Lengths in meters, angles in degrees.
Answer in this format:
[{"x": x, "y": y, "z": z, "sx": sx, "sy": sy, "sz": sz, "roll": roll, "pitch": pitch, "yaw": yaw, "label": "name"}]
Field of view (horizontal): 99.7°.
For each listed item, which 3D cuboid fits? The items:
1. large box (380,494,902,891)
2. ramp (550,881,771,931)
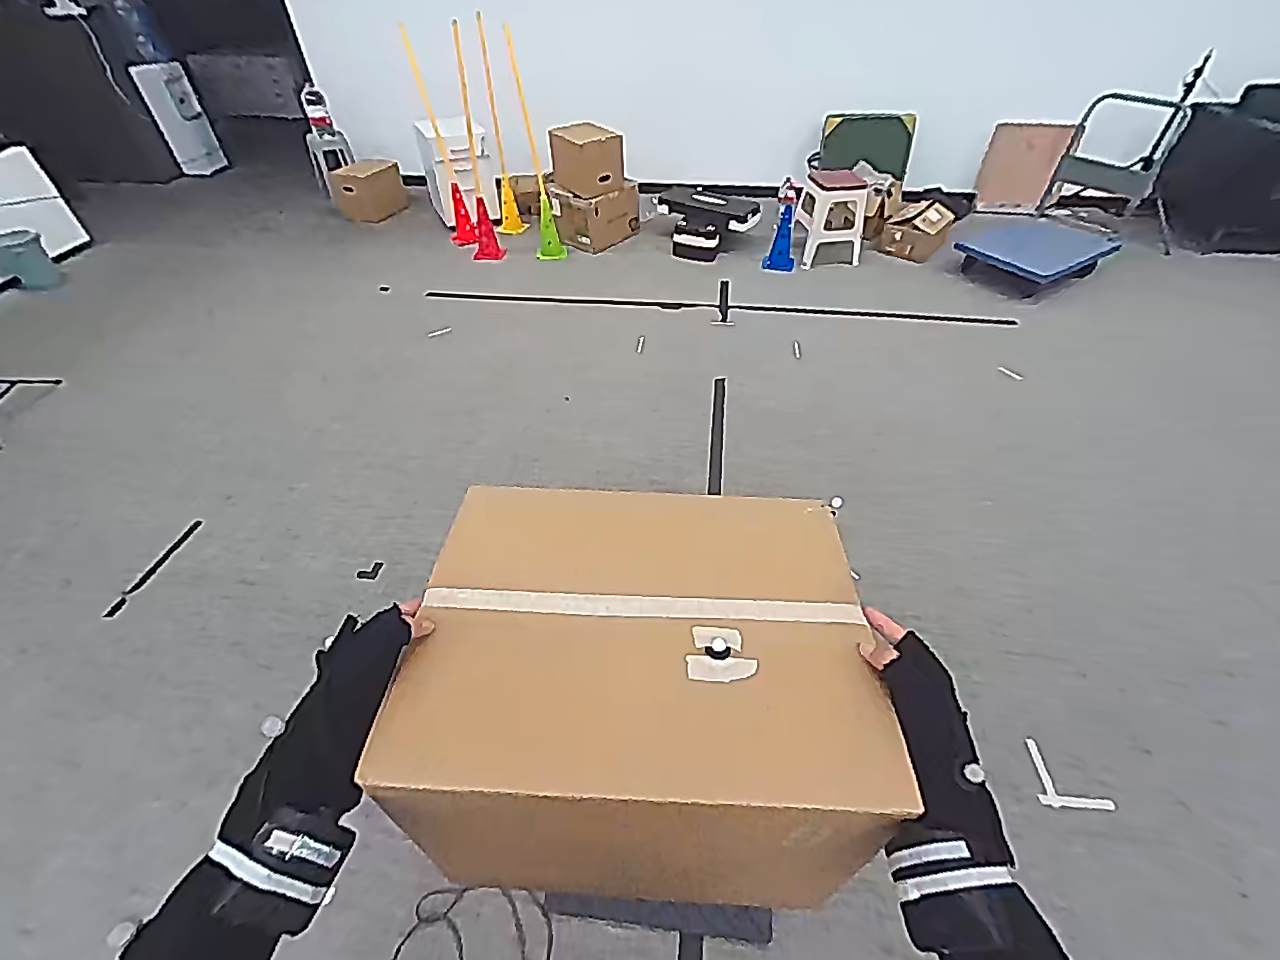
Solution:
[{"x": 0.001, "y": 0.236, "z": 0.612, "sx": 0.408, "sy": 0.320, "sz": 0.320, "roll": 3, "pitch": 42, "yaw": 1, "label": "large box"}, {"x": 0.096, "y": 0.538, "z": 1.448, "sx": 0.509, "sy": 0.206, "sz": 0.991, "roll": 4, "pitch": 45, "yaw": 3, "label": "ramp"}]
